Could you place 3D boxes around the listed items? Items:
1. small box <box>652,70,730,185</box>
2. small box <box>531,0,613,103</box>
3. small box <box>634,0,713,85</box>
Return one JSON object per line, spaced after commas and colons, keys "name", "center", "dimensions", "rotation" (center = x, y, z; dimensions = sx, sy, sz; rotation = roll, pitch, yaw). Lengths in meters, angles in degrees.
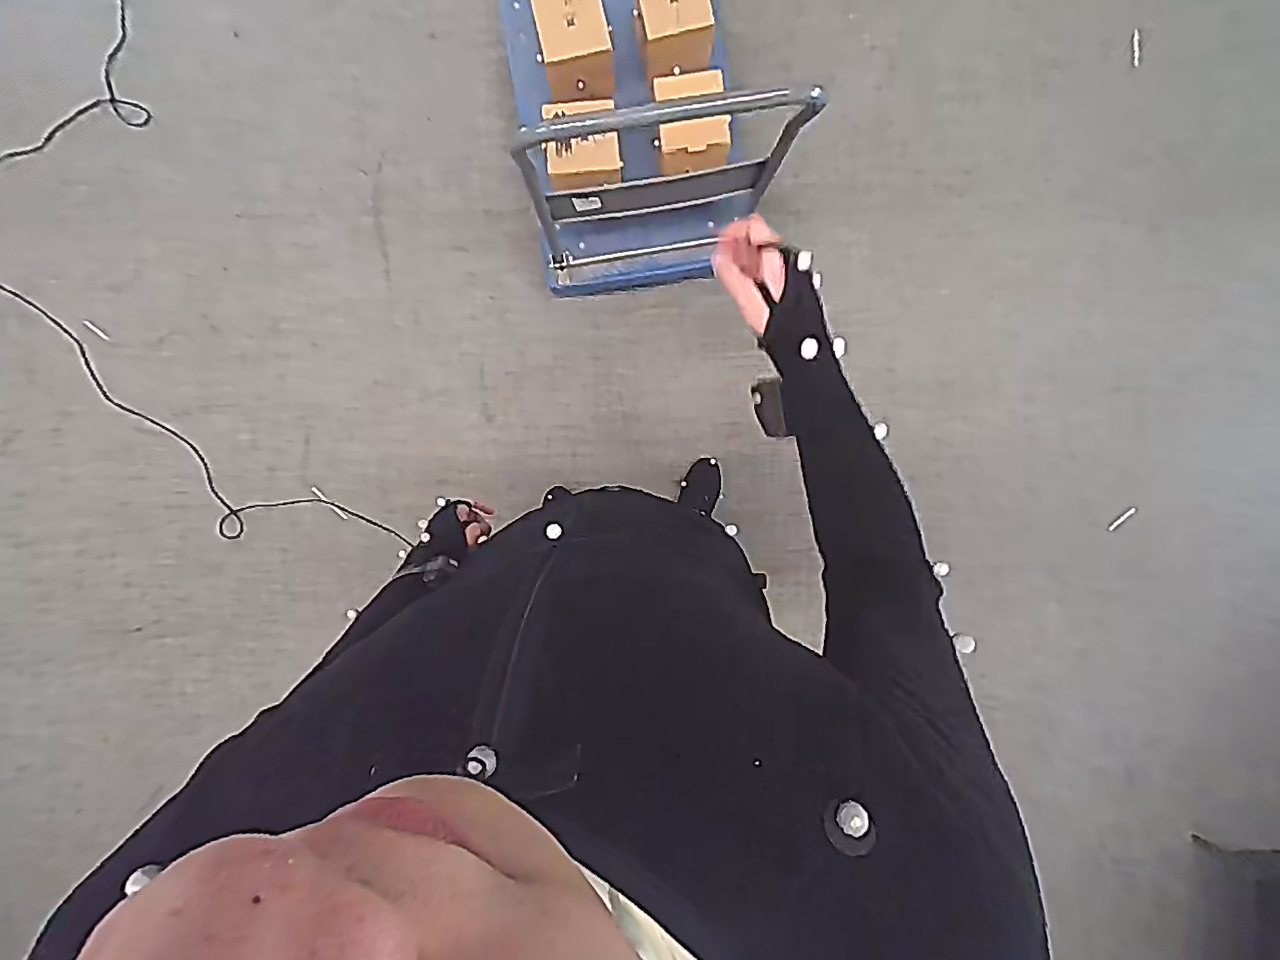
{"name": "small box", "center": [0.125, -0.891, 1.379], "dimensions": [0.168, 0.176, 0.179], "rotation": [-9, 92, 0]}
{"name": "small box", "center": [-0.166, -1.099, 1.373], "dimensions": [0.168, 0.176, 0.179], "rotation": [-13, 91, 0]}
{"name": "small box", "center": [0.079, -1.158, 1.370], "dimensions": [0.168, 0.176, 0.179], "rotation": [-13, 92, 1]}
